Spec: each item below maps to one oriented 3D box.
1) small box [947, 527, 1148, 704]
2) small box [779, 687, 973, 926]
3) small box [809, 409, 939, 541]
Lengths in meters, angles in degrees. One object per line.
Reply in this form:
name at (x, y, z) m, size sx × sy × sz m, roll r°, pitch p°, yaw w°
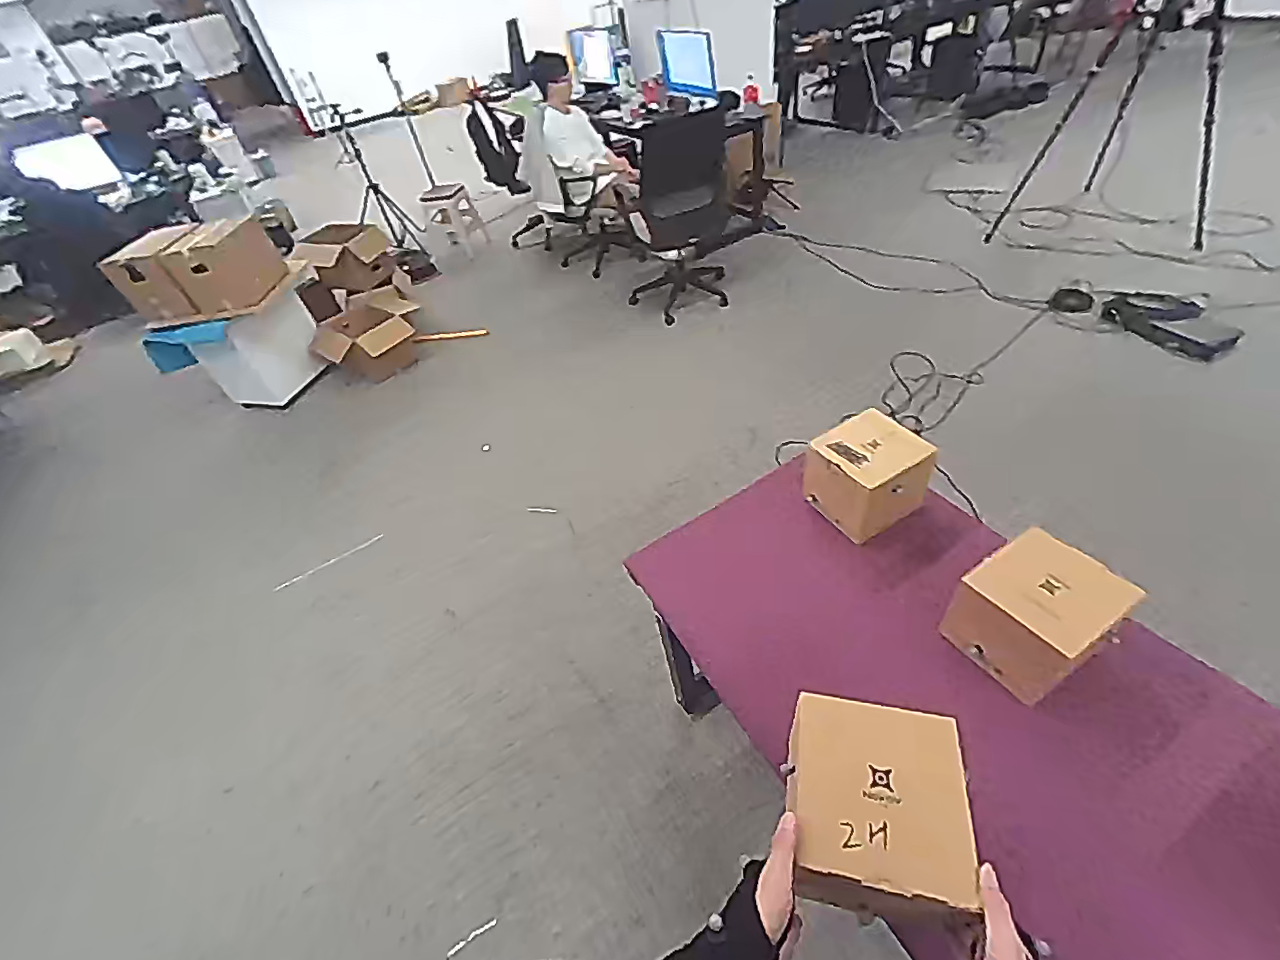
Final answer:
small box at (0.622, 0.213, 0.852) m, size 0.179 × 0.176 × 0.168 m, roll -28°, pitch 46°, yaw -15°
small box at (0.250, 0.368, 0.614) m, size 0.168 × 0.176 × 0.179 m, roll 5°, pitch 46°, yaw 15°
small box at (0.465, -0.008, 1.102) m, size 0.179 × 0.176 × 0.168 m, roll -27°, pitch 47°, yaw -14°
